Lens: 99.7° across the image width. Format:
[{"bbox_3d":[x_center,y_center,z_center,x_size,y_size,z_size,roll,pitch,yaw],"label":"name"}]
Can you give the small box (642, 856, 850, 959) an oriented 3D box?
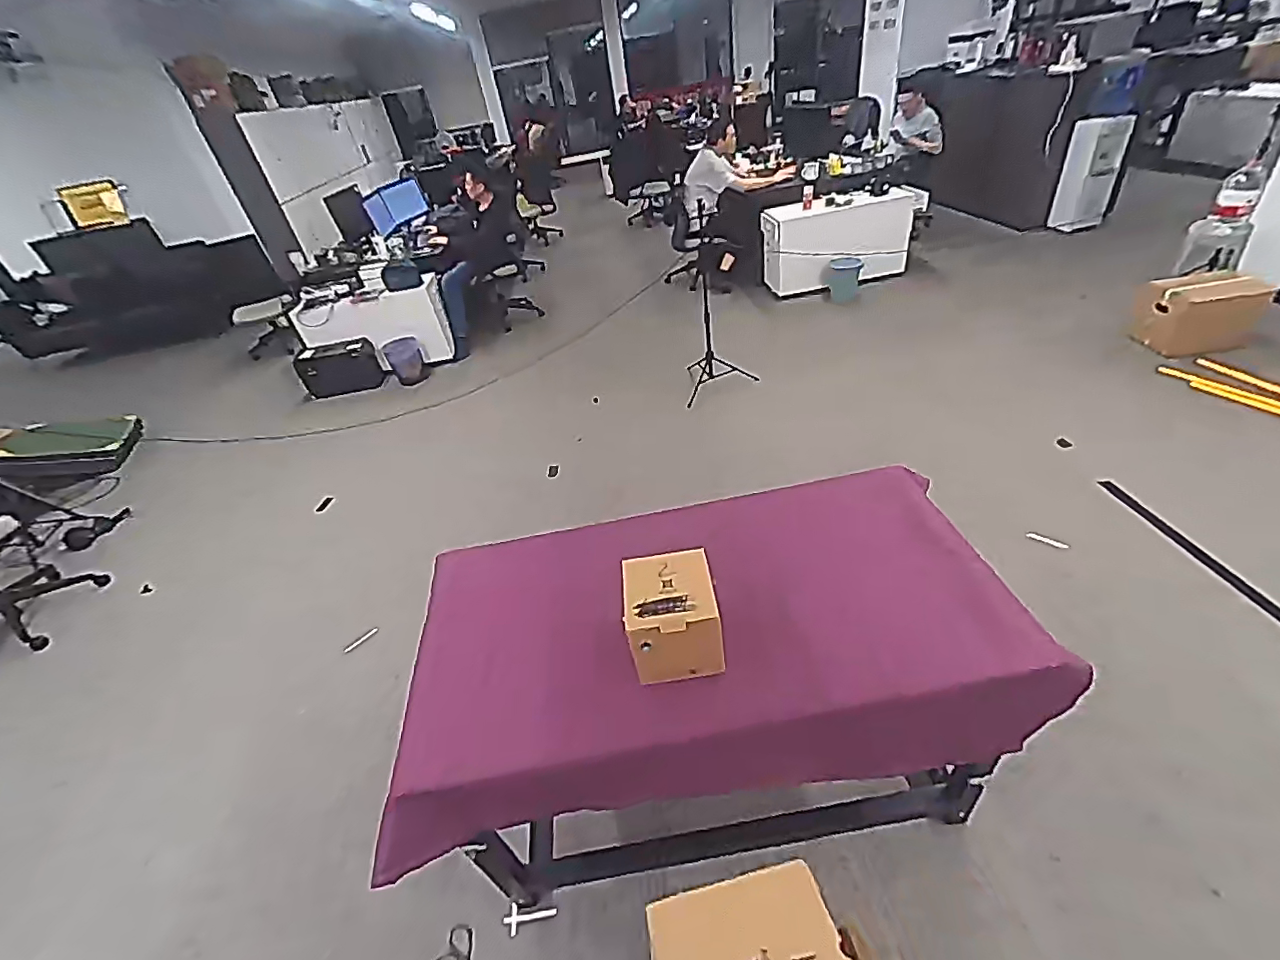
[{"bbox_3d":[0.109,0.515,0.517,0.179,0.176,0.168,-9,25,-11],"label":"small box"}]
